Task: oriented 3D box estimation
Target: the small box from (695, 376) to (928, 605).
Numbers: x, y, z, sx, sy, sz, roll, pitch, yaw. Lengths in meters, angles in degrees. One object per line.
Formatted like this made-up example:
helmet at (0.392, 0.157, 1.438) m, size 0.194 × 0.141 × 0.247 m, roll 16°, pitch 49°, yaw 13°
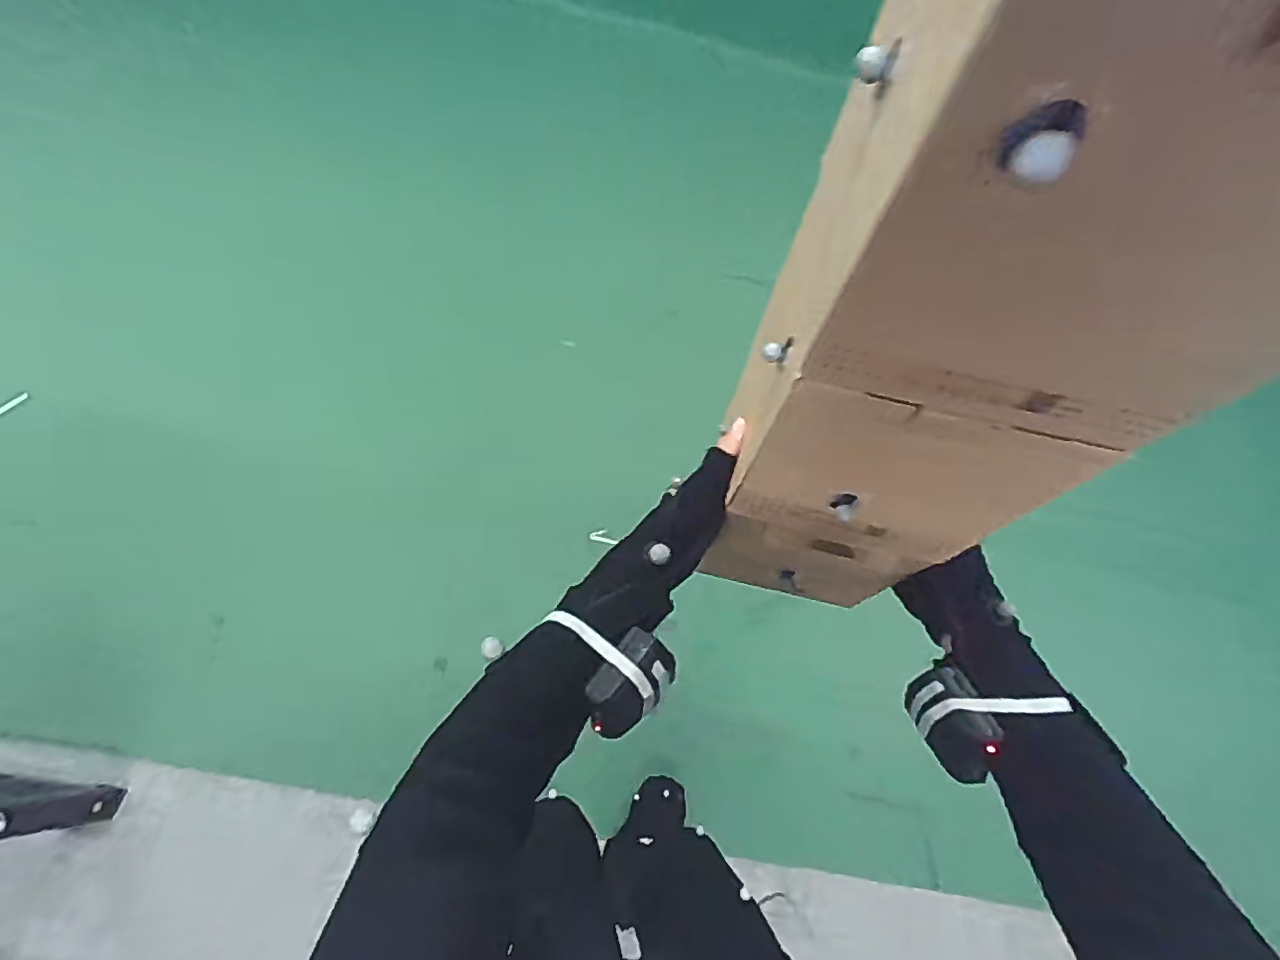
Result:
small box at (0.158, 0.004, 0.530) m, size 0.168 × 0.176 × 0.179 m, roll 14°, pitch 64°, yaw 2°

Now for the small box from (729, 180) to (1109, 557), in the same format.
small box at (0.169, -0.067, 0.383) m, size 0.168 × 0.176 × 0.179 m, roll 13°, pitch 64°, yaw 2°
